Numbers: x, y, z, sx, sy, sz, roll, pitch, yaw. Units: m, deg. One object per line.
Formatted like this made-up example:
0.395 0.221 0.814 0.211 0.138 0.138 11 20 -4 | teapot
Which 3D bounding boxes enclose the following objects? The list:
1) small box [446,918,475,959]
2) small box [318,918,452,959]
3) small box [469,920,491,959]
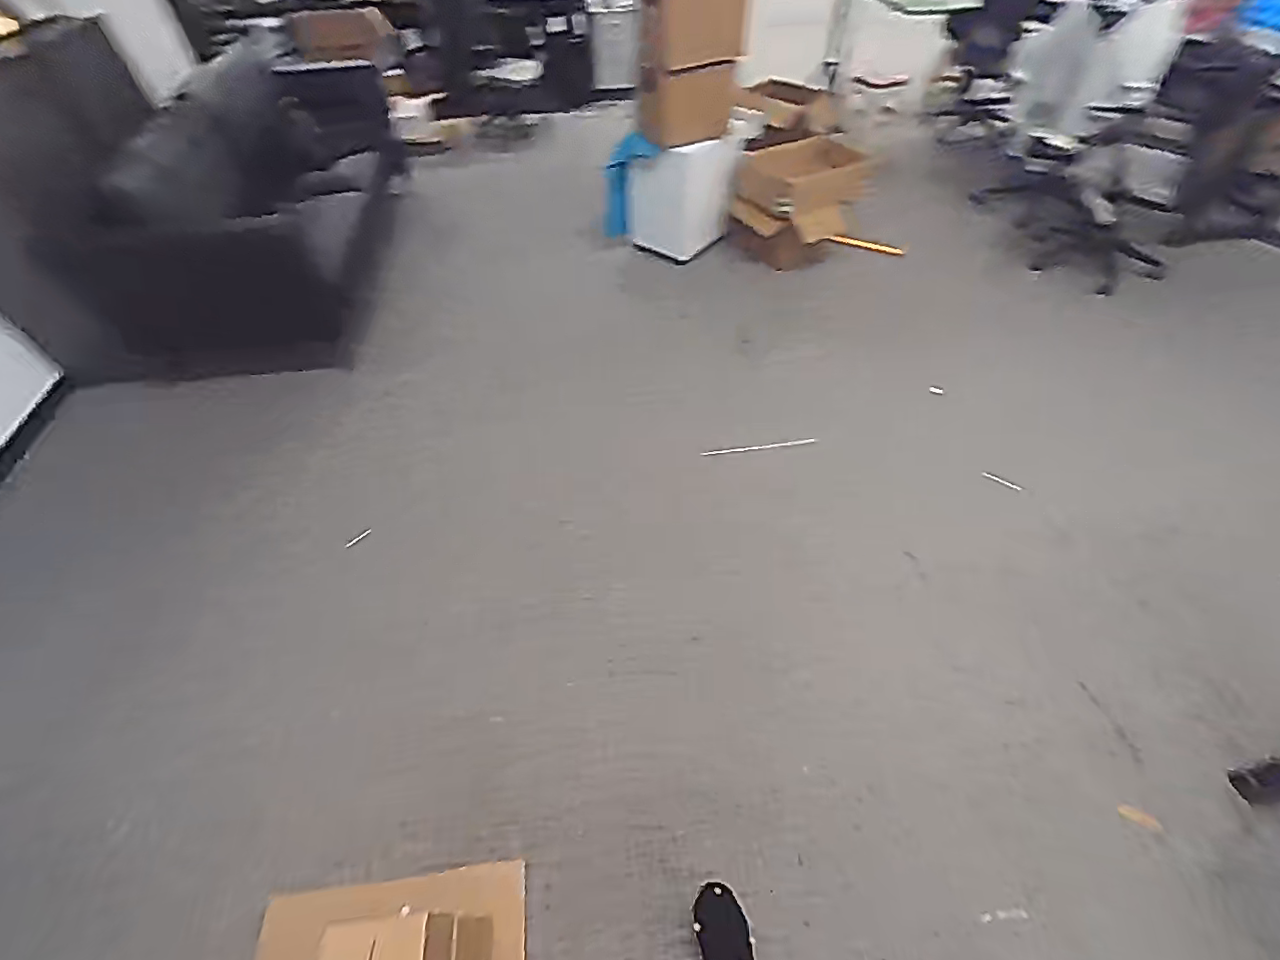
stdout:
-0.410 0.940 1.007 0.168 0.176 0.179 -6 52 -5 | small box
-0.416 0.835 0.880 0.168 0.176 0.179 -5 51 -5 | small box
-0.415 1.043 1.131 0.168 0.176 0.179 -5 51 -4 | small box
